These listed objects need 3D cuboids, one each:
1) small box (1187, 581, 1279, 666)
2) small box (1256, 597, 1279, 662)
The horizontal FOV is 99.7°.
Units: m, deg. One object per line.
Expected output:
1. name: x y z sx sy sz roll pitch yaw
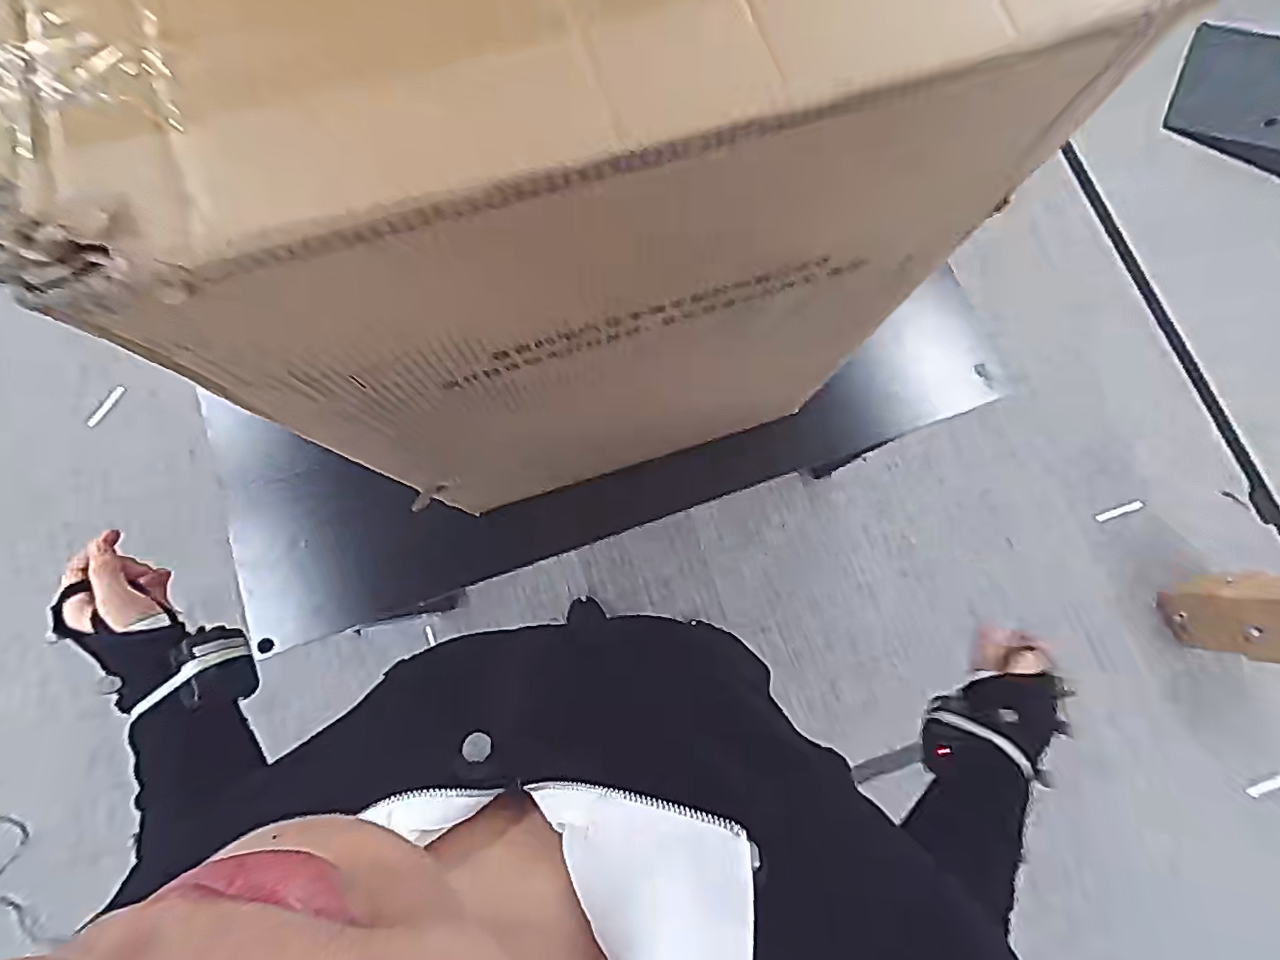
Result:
1. small box: 1.606 0.364 1.401 0.179 0.176 0.168 -19 80 -4
2. small box: 1.606 0.344 1.236 0.179 0.176 0.168 -18 80 -5
